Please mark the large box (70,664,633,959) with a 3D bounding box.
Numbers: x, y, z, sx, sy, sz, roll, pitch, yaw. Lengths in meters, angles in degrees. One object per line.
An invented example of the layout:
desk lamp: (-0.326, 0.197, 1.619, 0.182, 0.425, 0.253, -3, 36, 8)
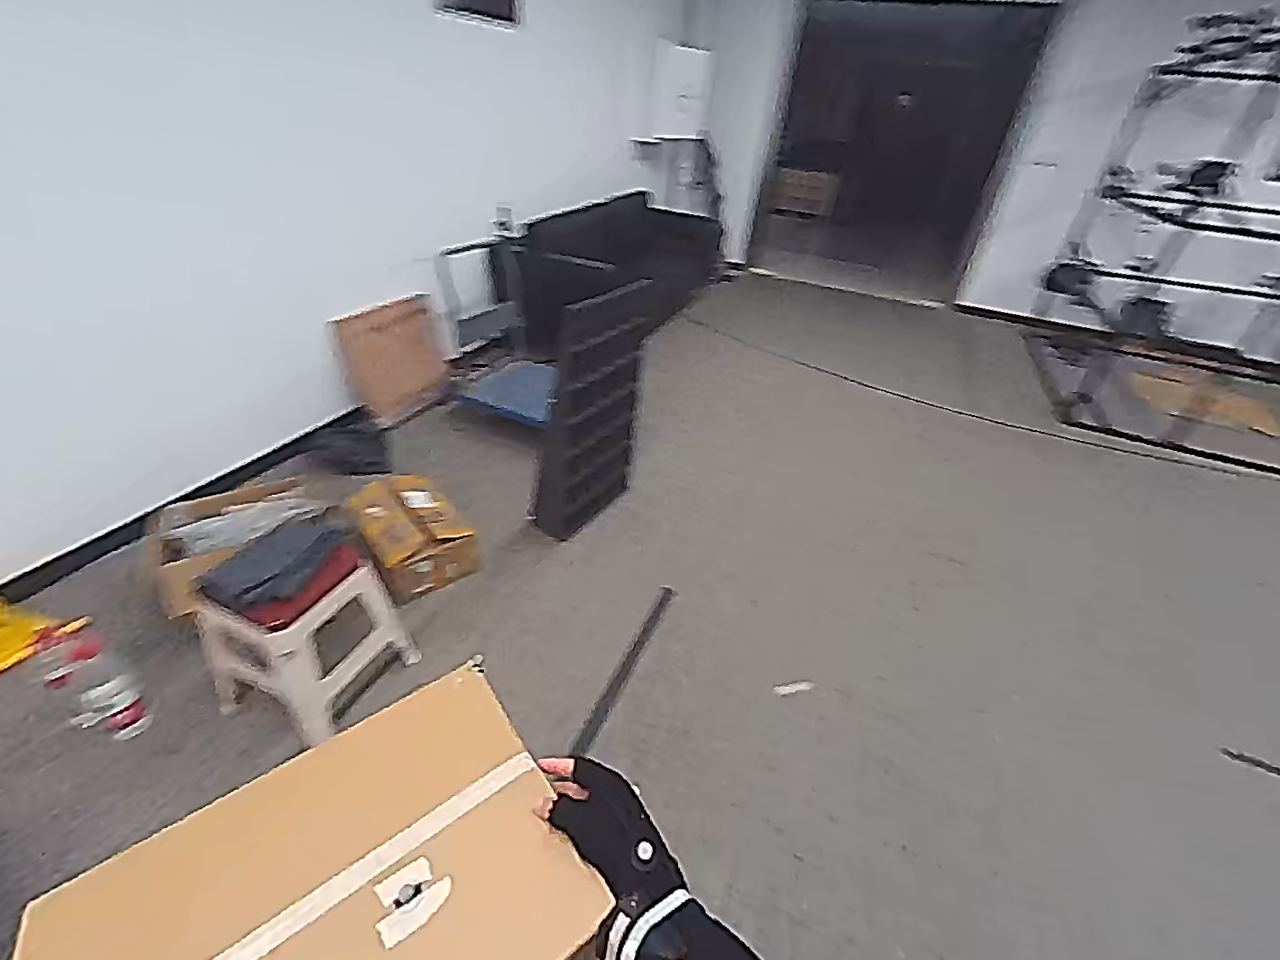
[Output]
large box: (-0.254, 0.486, 0.559, 0.408, 0.320, 0.320, -23, 40, -28)
